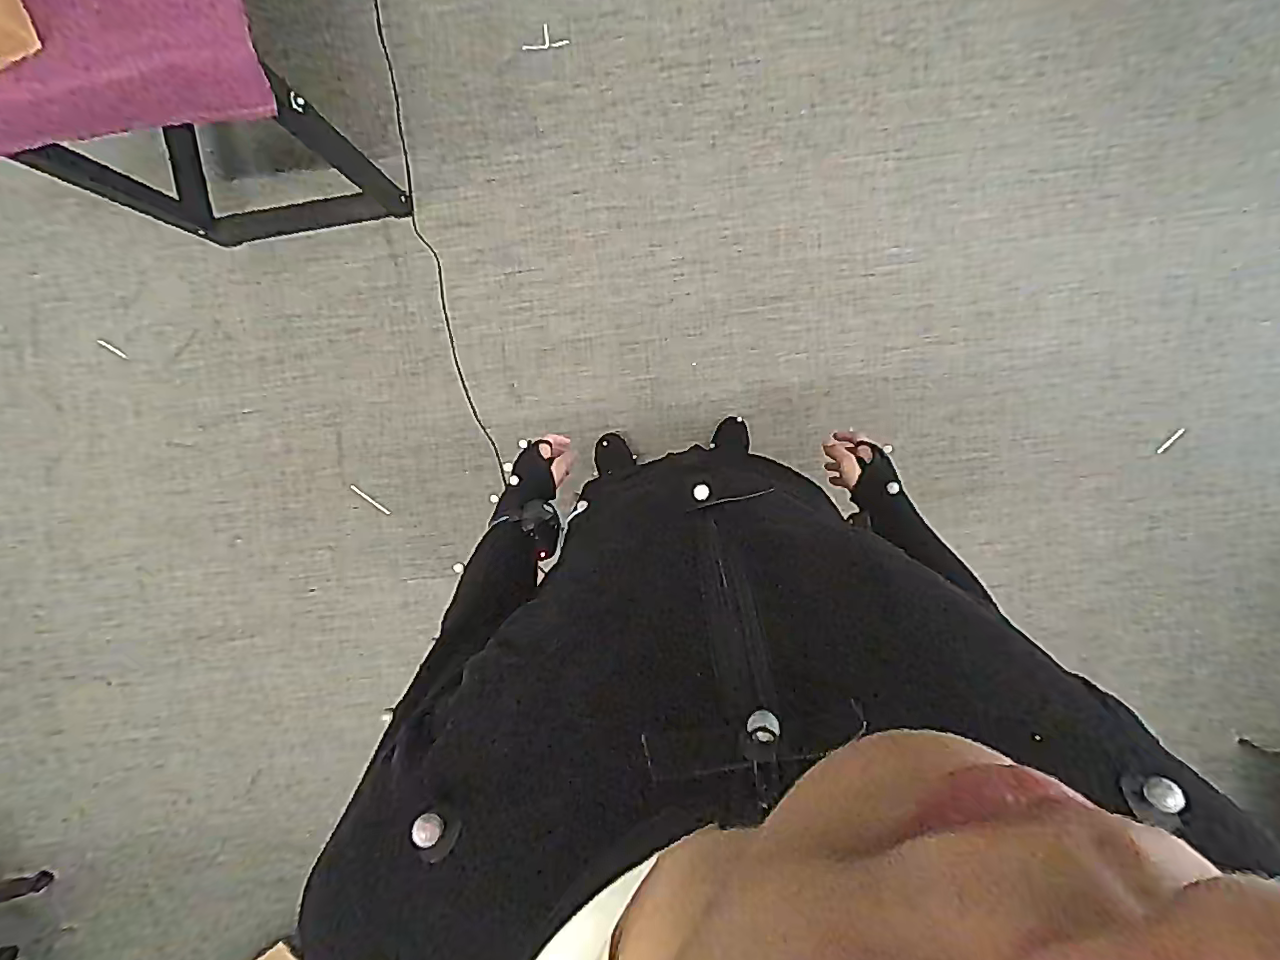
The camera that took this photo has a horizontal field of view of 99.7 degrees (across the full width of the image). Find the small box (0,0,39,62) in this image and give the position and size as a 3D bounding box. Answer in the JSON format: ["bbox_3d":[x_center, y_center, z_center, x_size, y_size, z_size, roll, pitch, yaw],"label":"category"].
[{"bbox_3d":[-1.037,-0.719,0.763,0.168,0.176,0.179,-22,95,2],"label":"small box"}]
